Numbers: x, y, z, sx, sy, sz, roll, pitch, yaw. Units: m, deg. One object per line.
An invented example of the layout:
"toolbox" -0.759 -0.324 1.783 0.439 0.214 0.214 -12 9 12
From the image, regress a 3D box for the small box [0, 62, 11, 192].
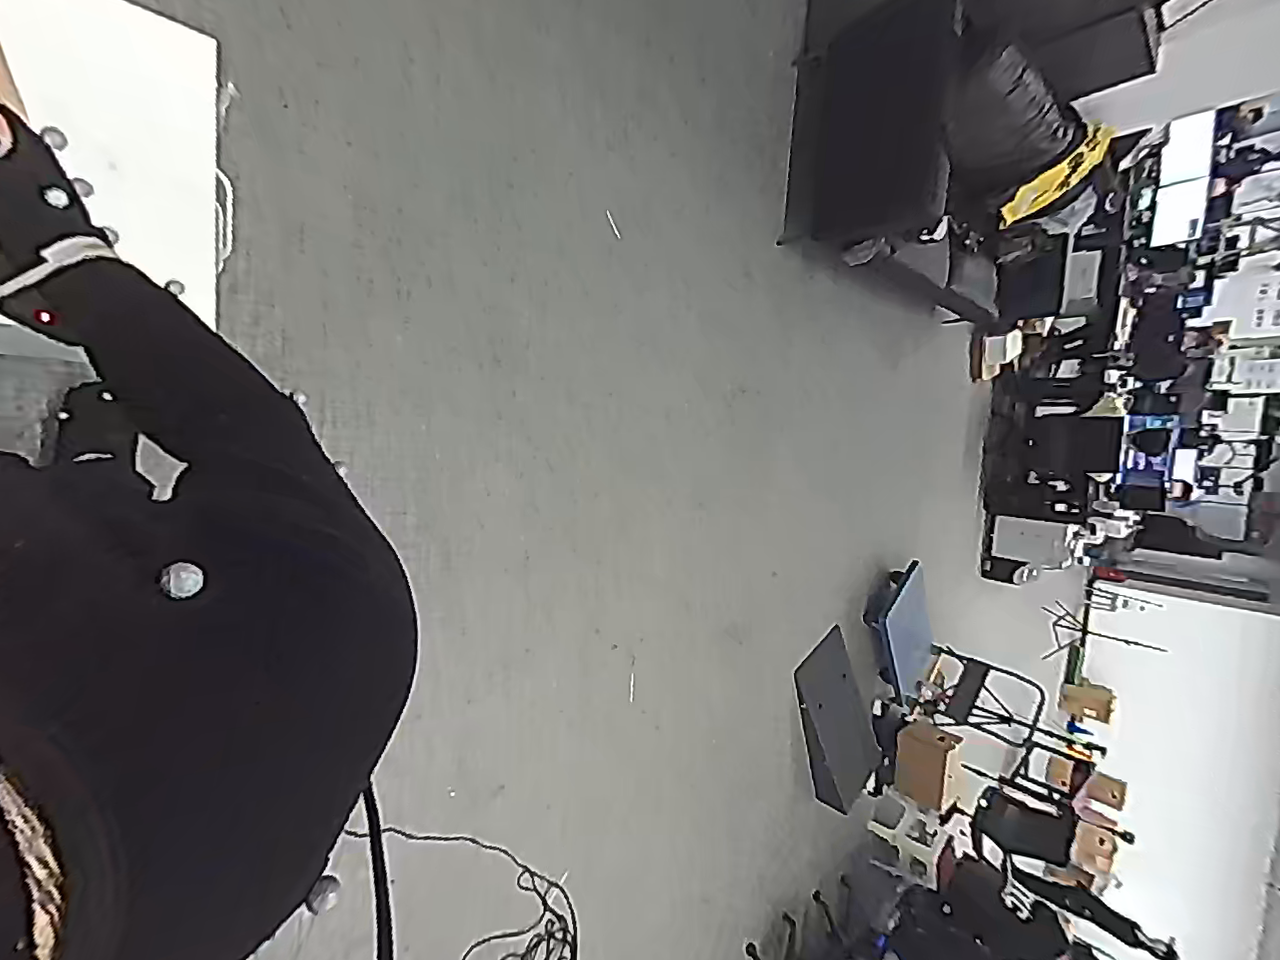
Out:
"small box" -0.688 -0.332 0.467 0.168 0.176 0.179 9 90 -44
